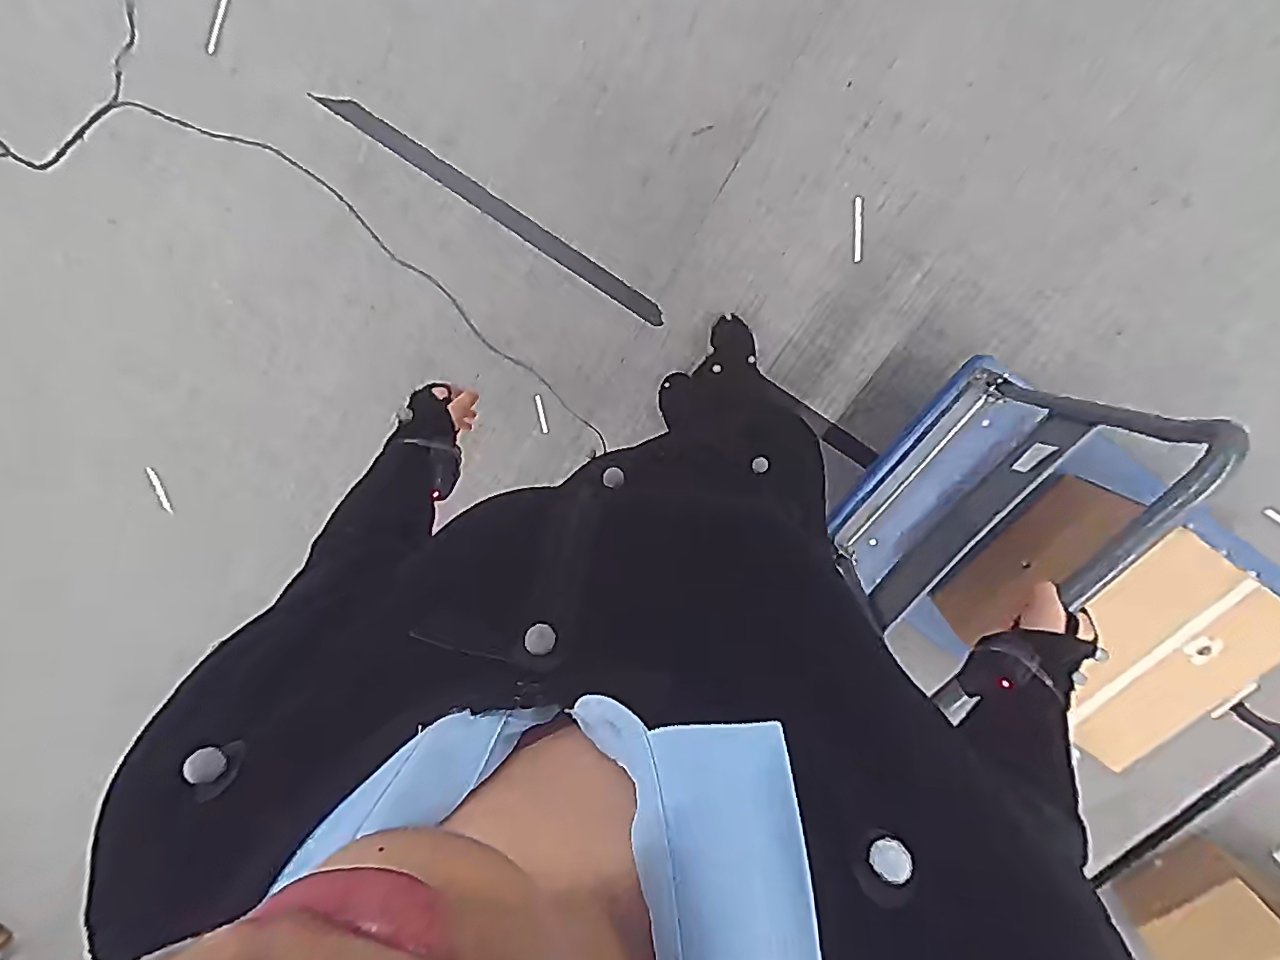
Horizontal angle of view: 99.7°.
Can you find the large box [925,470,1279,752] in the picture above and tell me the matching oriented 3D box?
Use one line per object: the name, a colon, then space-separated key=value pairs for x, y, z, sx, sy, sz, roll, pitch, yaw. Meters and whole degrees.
large box: x=0.898 y=0.249 z=1.121 sx=0.320 sy=0.320 sz=0.408 roll=36 pitch=107 yaw=-3
